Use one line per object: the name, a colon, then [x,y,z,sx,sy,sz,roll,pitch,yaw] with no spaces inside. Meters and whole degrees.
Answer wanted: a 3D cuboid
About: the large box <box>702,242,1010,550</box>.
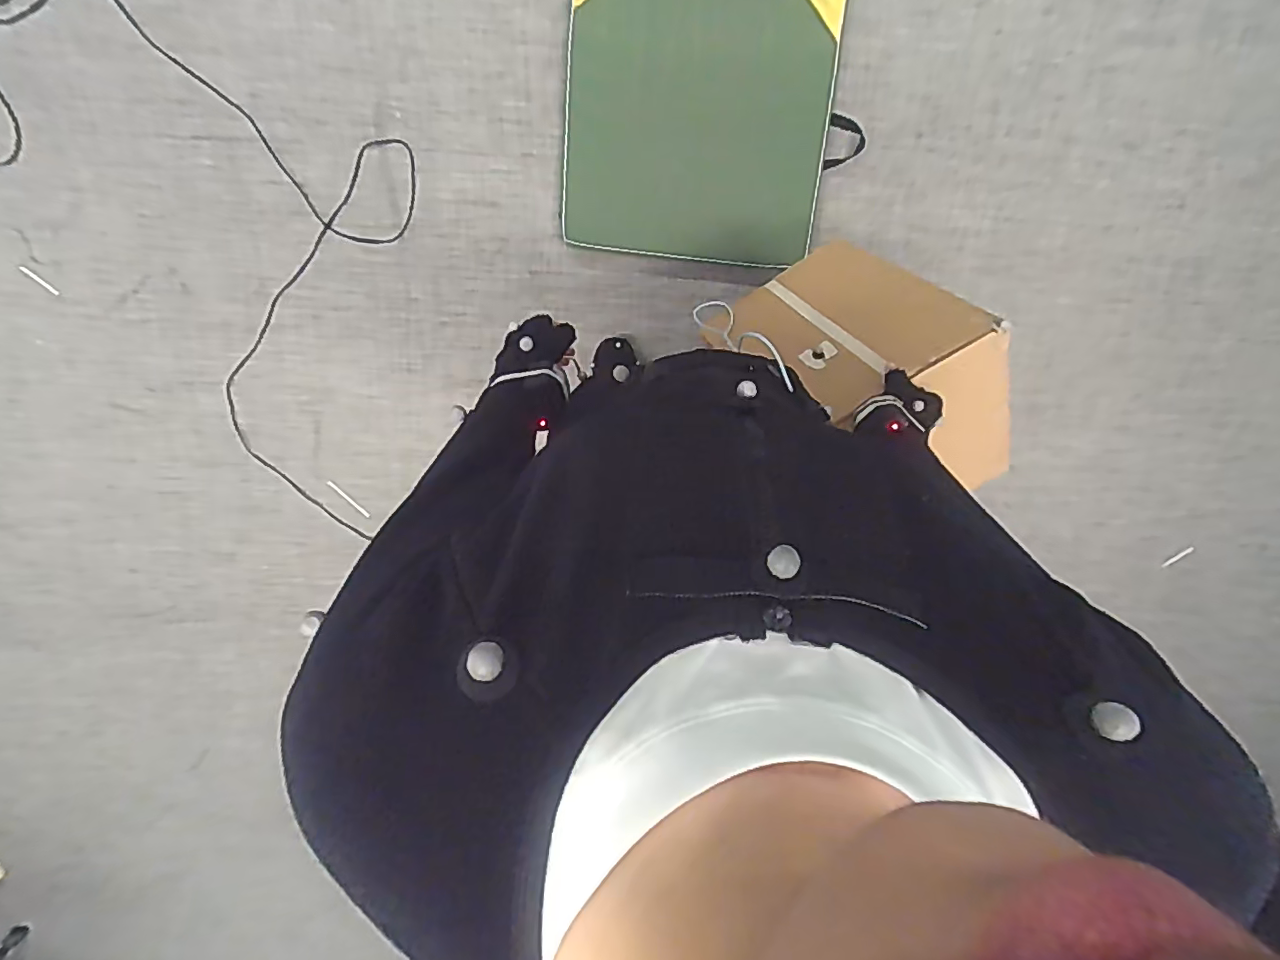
large box: [0.367,-0.158,0.969,0.320,0.408,0.320,-32,131,6]
